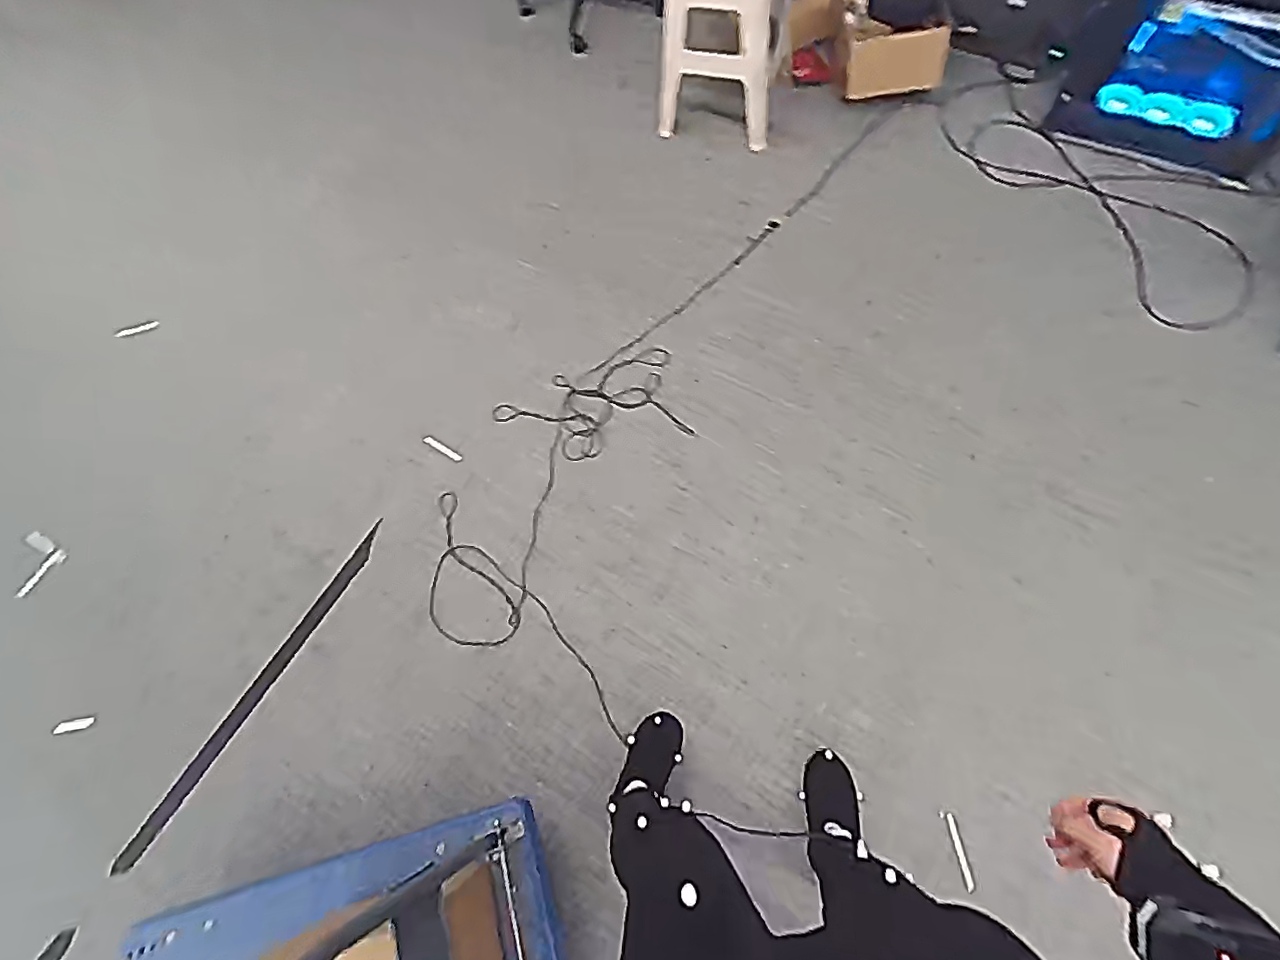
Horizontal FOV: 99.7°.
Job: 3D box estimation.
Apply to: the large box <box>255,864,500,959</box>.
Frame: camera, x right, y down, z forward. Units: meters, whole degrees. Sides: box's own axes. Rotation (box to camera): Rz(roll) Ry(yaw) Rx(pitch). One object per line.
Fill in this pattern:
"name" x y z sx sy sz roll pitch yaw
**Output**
"large box" -0.414 0.934 0.872 0.320 0.320 0.408 -18 68 0
